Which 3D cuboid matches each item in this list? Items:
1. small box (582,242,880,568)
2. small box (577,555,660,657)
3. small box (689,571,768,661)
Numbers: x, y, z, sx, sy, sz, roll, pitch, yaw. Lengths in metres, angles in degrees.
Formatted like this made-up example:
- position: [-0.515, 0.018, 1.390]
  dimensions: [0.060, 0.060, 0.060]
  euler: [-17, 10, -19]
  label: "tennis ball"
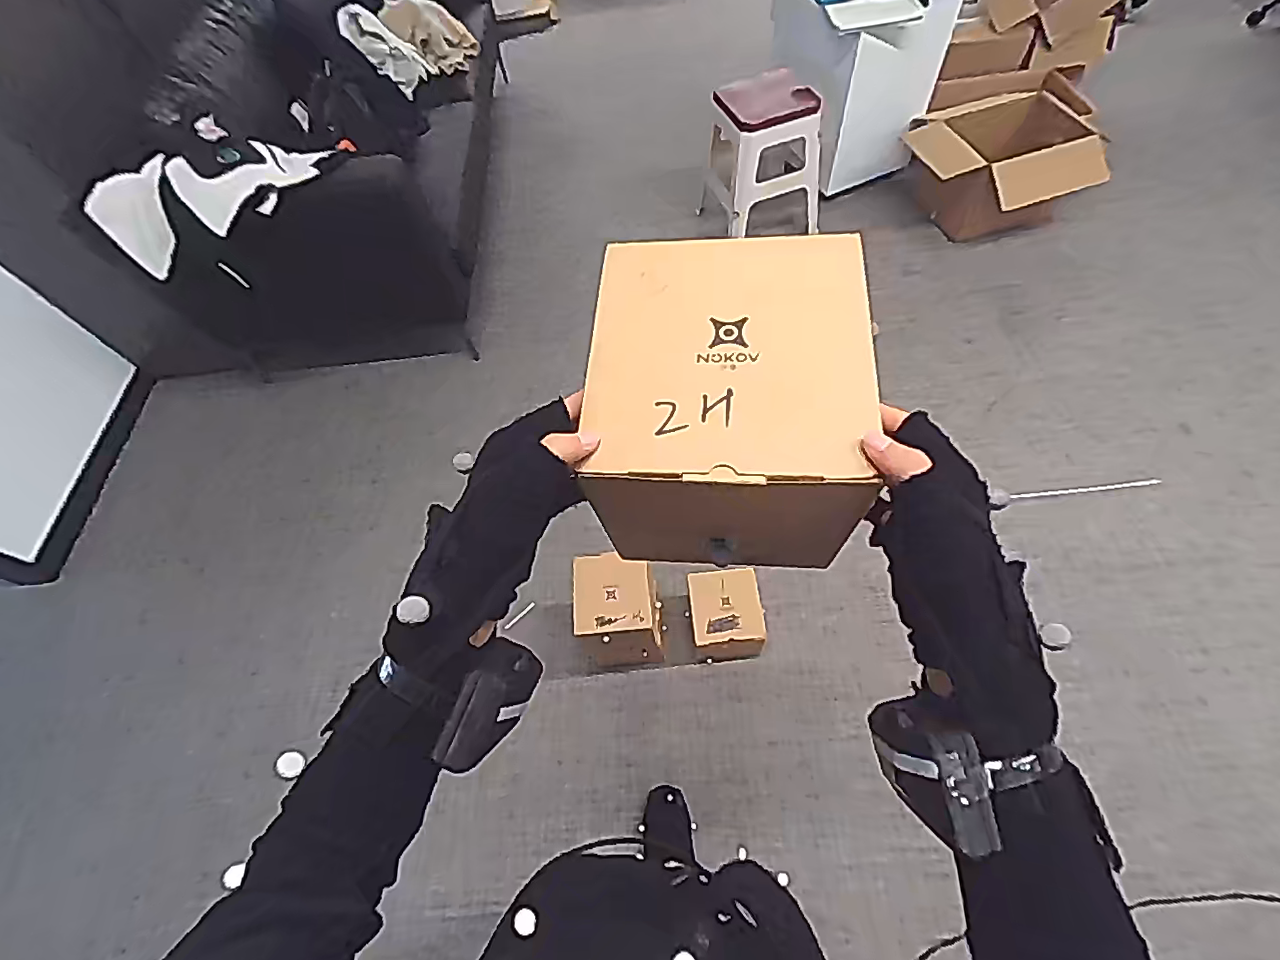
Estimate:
- position: [0.065, -0.046, 0.402]
  dimensions: [0.168, 0.176, 0.179]
  euler: [1, 65, 10]
  label: "small box"
- position: [-0.045, 0.287, 1.221]
  dimensions: [0.168, 0.176, 0.179]
  euler: [-6, 58, 3]
  label: "small box"
- position: [0.216, 0.345, 1.344]
  dimensions: [0.168, 0.176, 0.179]
  euler: [-6, 58, 3]
  label: "small box"
